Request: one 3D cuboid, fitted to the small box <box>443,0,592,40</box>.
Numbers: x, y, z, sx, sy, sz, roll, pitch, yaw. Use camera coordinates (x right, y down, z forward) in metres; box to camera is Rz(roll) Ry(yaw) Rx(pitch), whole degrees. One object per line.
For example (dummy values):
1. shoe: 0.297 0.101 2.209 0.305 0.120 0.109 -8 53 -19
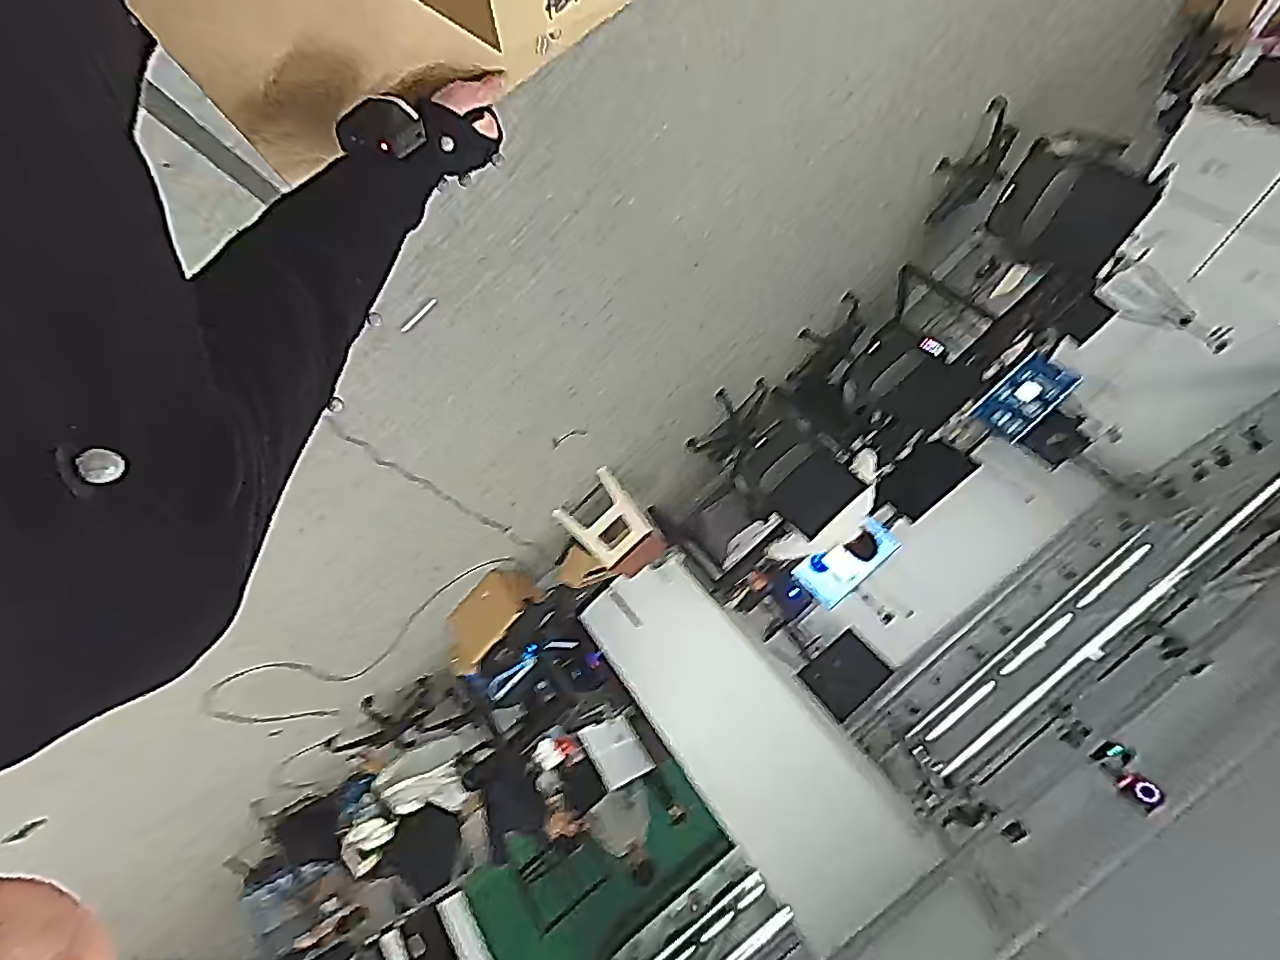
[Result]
1. small box: -0.108 -0.482 0.401 0.168 0.176 0.179 -38 155 -14
